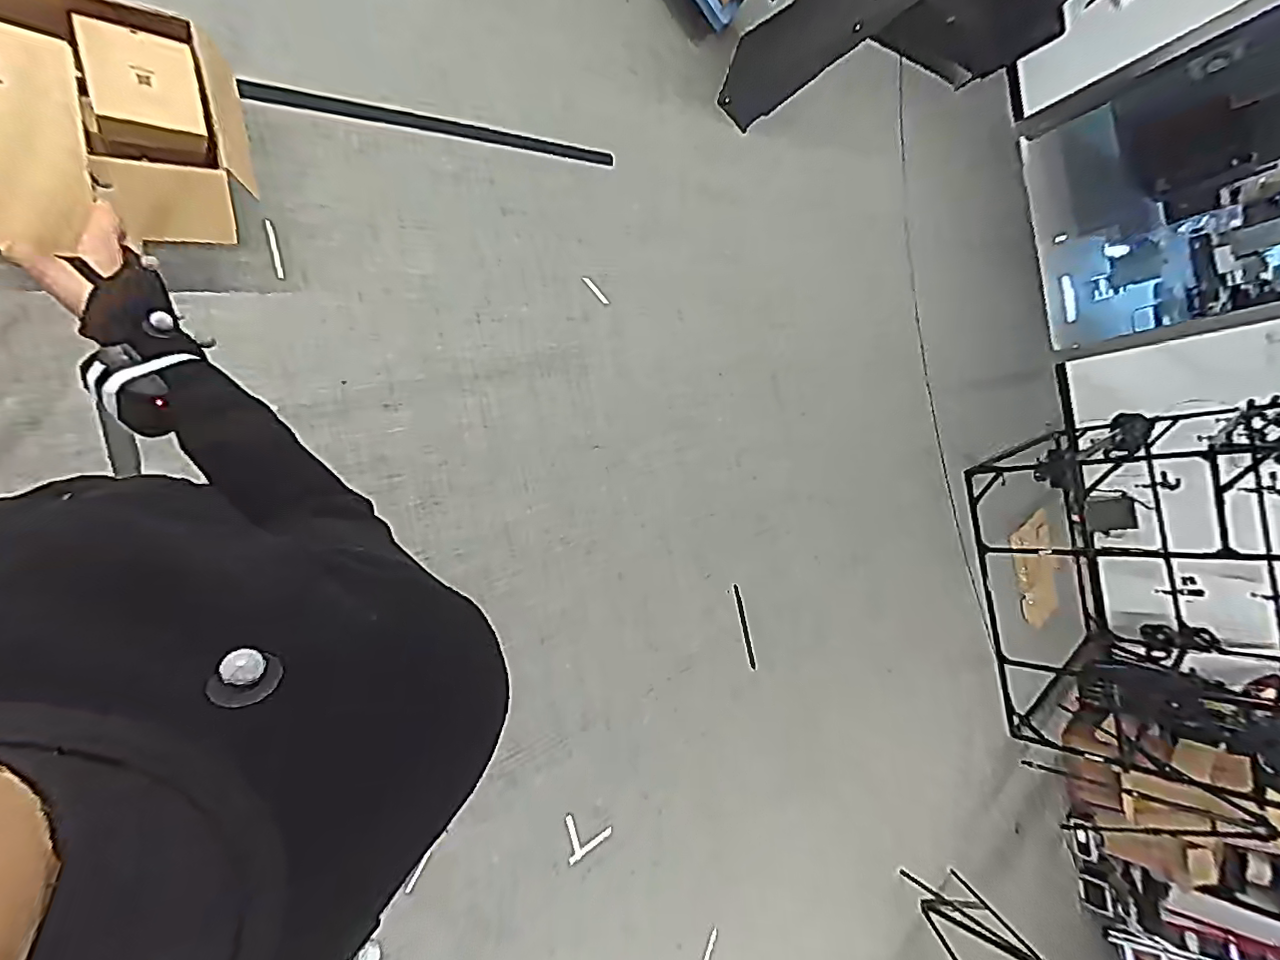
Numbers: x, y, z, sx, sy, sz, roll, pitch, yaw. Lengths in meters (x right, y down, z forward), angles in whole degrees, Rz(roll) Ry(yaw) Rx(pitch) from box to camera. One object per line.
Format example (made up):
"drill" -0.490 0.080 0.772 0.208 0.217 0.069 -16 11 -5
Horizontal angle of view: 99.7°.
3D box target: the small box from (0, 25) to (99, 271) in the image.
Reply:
"small box" -0.599 -0.289 0.473 0.168 0.176 0.179 -9 107 -45
